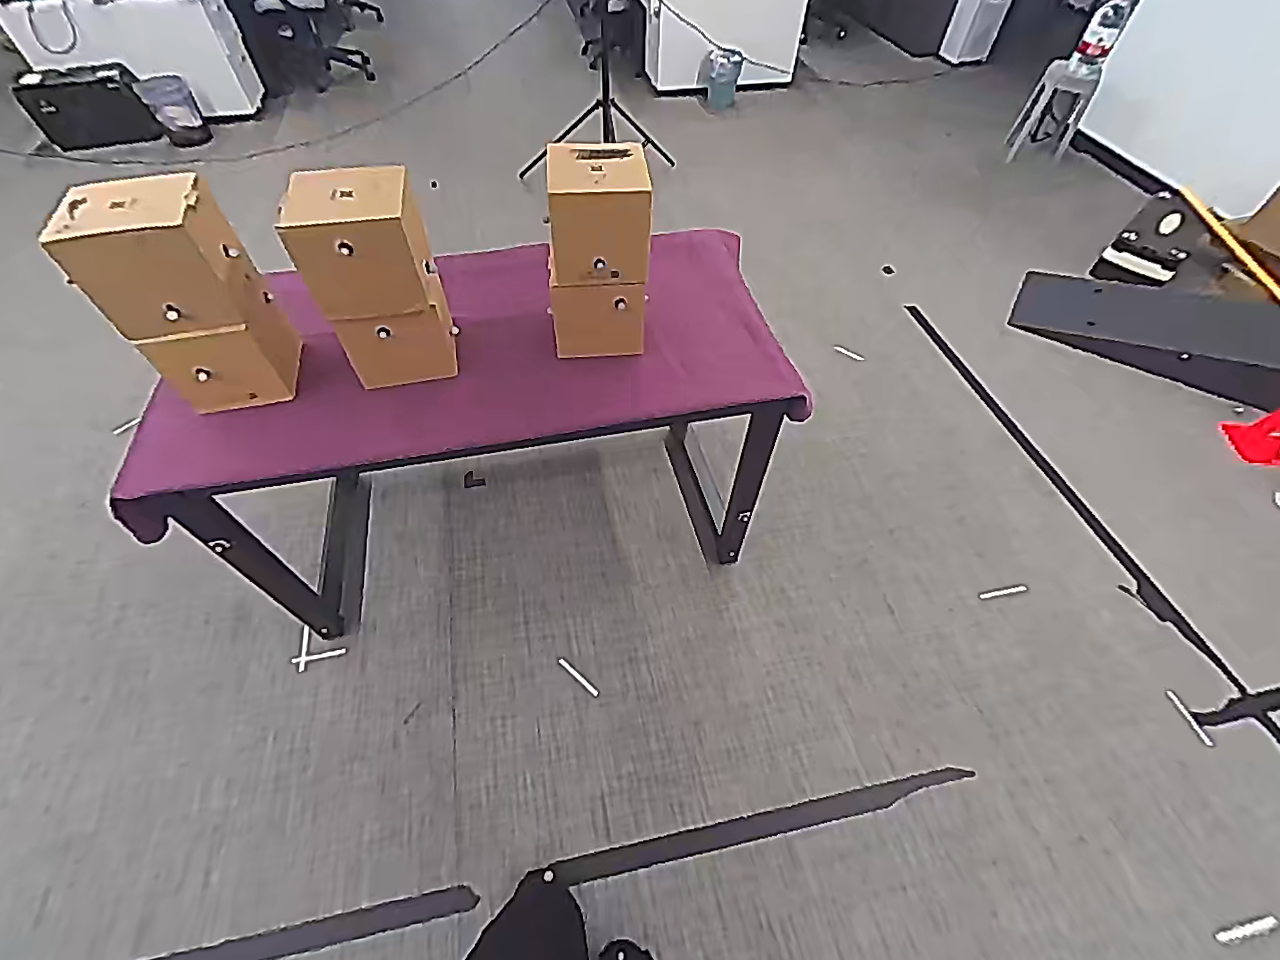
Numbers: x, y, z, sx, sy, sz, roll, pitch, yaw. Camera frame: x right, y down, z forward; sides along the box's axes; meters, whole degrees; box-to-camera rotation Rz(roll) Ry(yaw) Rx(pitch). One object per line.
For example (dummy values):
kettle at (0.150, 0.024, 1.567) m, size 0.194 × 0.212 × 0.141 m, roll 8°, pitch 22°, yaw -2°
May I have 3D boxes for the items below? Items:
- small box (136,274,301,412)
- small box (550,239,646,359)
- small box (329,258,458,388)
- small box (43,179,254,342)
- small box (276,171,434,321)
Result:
small box at (-0.744, -0.241, 0.981) m, size 0.168 × 0.176 × 0.179 m, roll -12°, pitch 54°, yaw -10°
small box at (-0.085, -0.359, 1.083) m, size 0.179 × 0.176 × 0.168 m, roll -4°, pitch 53°, yaw -4°
small box at (-0.458, -0.294, 1.026) m, size 0.179 × 0.176 × 0.168 m, roll -11°, pitch 54°, yaw -10°
small box at (-0.748, -0.344, 0.853) m, size 0.179 × 0.176 × 0.168 m, roll -14°, pitch 54°, yaw -12°
small box at (-0.452, -0.380, 0.889) m, size 0.179 × 0.176 × 0.168 m, roll -8°, pitch 55°, yaw -9°
